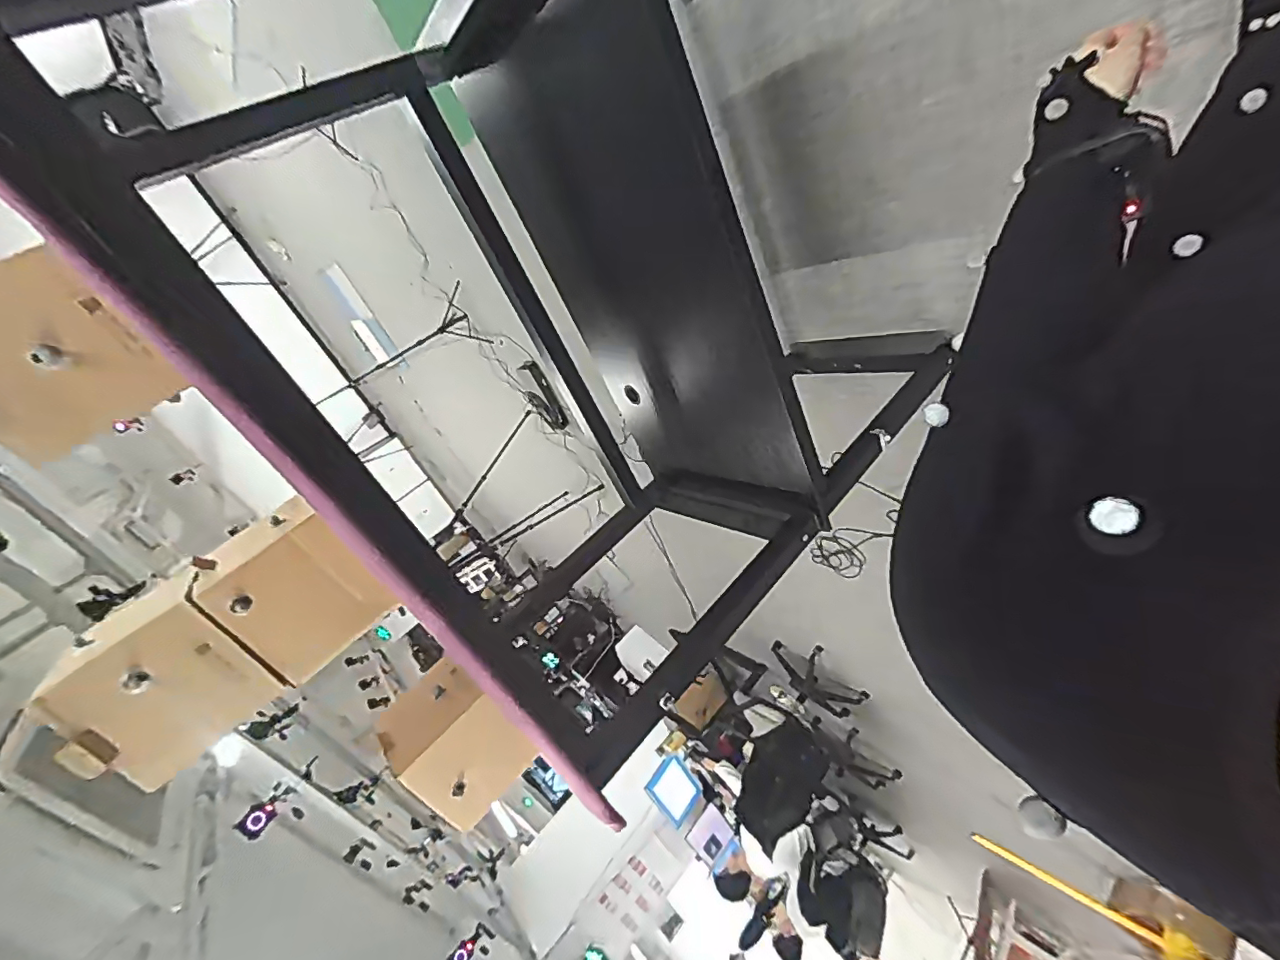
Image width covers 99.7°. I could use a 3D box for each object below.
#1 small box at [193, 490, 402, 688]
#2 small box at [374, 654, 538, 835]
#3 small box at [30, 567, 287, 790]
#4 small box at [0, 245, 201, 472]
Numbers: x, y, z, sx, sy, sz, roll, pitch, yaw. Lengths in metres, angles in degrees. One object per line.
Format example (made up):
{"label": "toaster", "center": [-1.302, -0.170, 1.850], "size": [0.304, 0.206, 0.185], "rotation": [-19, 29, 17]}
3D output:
{"label": "small box", "center": [-0.465, 0.142, 0.754], "size": [0.168, 0.176, 0.179], "rotation": [15, 140, 53]}
{"label": "small box", "center": [-0.301, 0.430, 0.902], "size": [0.168, 0.176, 0.179], "rotation": [11, 137, 52]}
{"label": "small box", "center": [-0.580, 0.235, 0.687], "size": [0.179, 0.176, 0.168], "rotation": [14, 137, 56]}
{"label": "small box", "center": [-0.623, -0.138, 0.588], "size": [0.179, 0.176, 0.168], "rotation": [22, 147, 48]}
